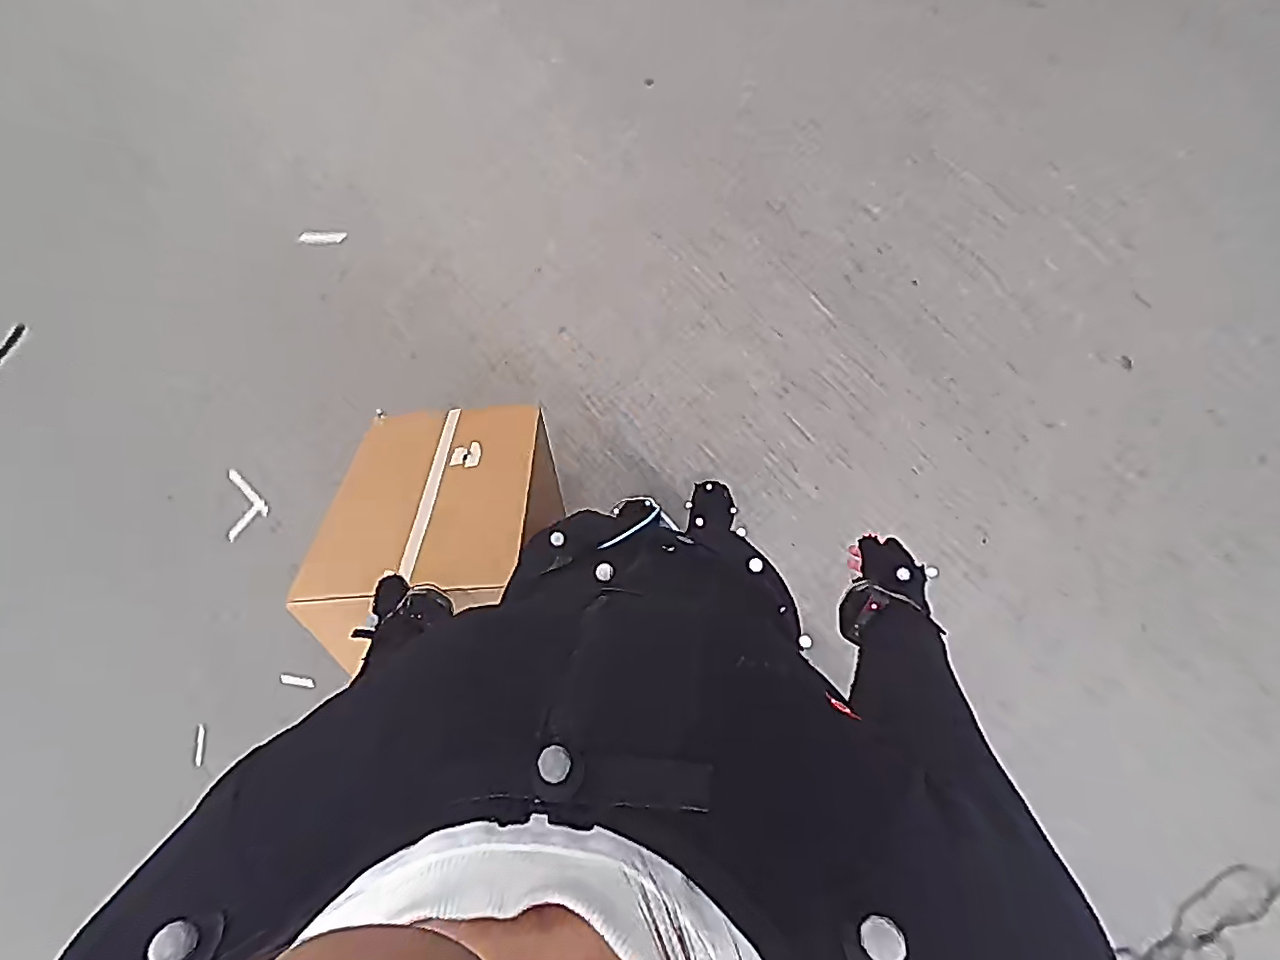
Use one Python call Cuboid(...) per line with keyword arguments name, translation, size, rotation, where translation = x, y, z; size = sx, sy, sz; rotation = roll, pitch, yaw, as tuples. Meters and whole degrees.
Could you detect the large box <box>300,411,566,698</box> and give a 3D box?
Cuboid(name="large box", translation=(-0.320, 0.129, 0.985), size=(0.320, 0.320, 0.408), rotation=(-5, 44, 1))
